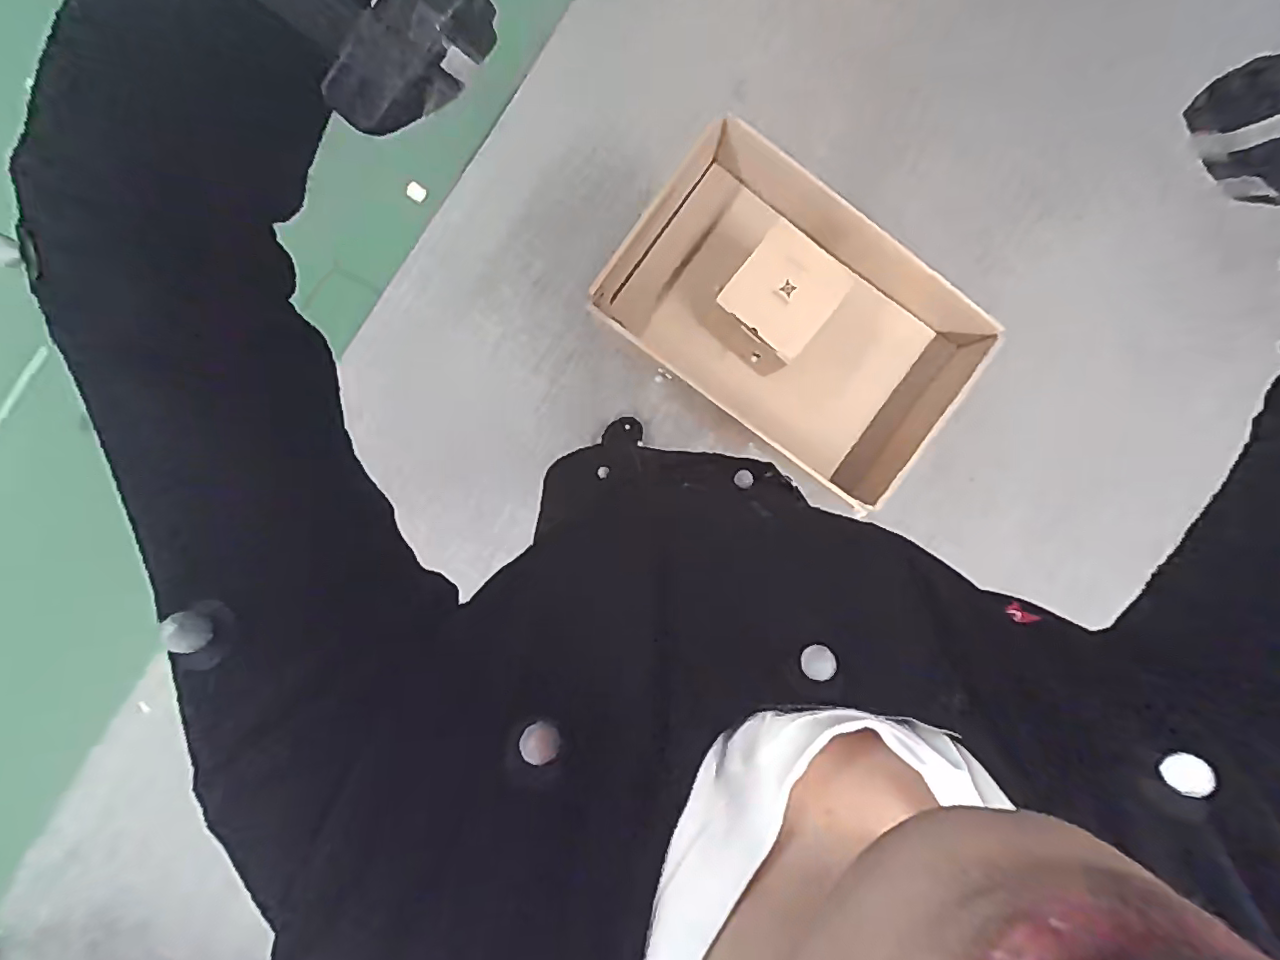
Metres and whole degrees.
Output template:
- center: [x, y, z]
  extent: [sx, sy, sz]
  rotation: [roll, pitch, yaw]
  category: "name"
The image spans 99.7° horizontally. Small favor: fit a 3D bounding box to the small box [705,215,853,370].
- center: [0.232, -0.318, 0.962]
  extent: [0.168, 0.176, 0.179]
  rotation: [39, 90, -6]
  category: "small box"
